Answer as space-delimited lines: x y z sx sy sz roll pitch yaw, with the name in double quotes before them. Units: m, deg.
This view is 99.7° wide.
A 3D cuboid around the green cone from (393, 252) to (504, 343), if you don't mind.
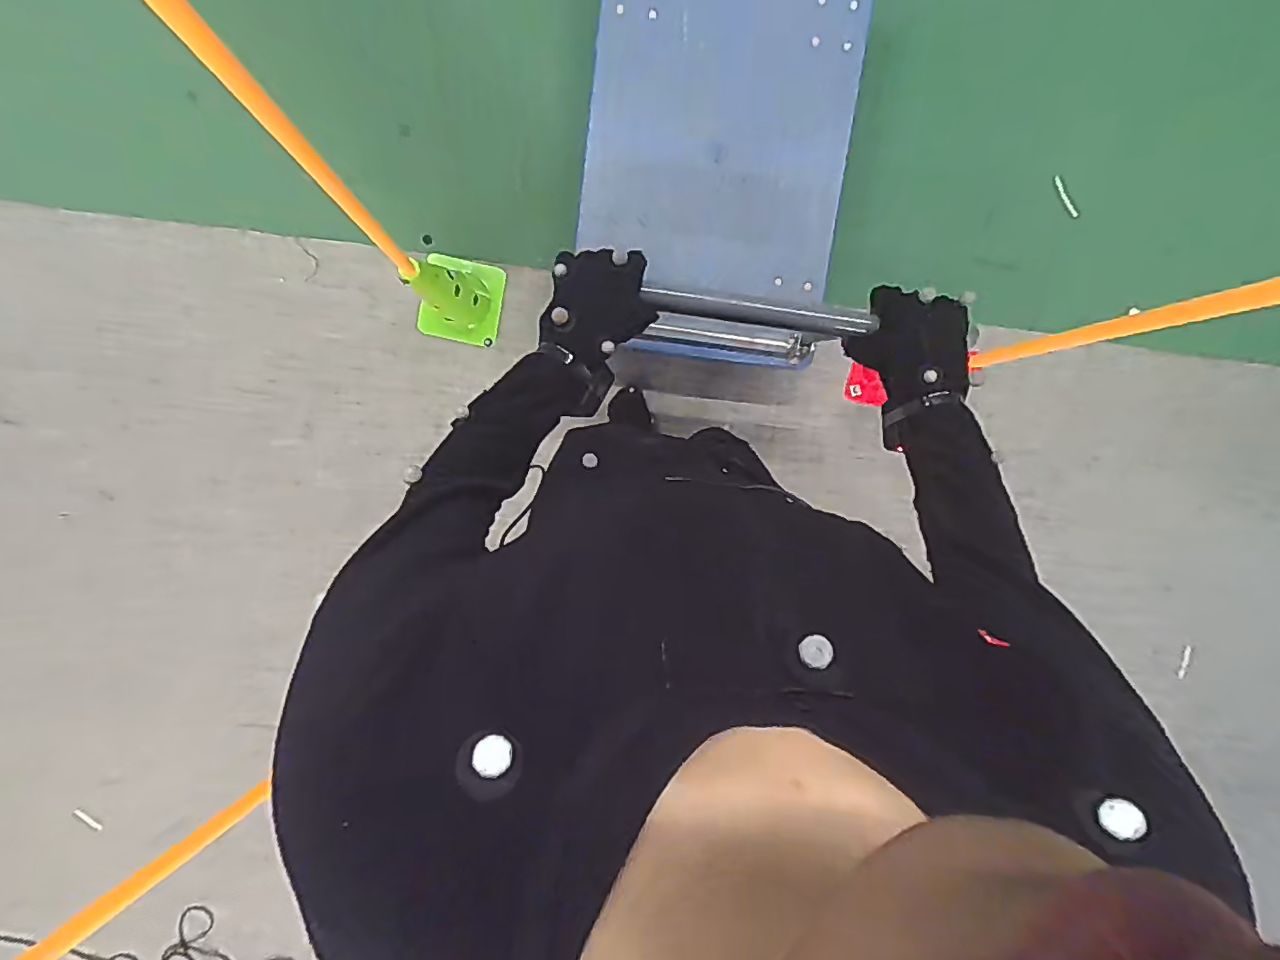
"green cone" -0.452 -0.440 1.208 0.202 0.368 0.200 11 97 -3
